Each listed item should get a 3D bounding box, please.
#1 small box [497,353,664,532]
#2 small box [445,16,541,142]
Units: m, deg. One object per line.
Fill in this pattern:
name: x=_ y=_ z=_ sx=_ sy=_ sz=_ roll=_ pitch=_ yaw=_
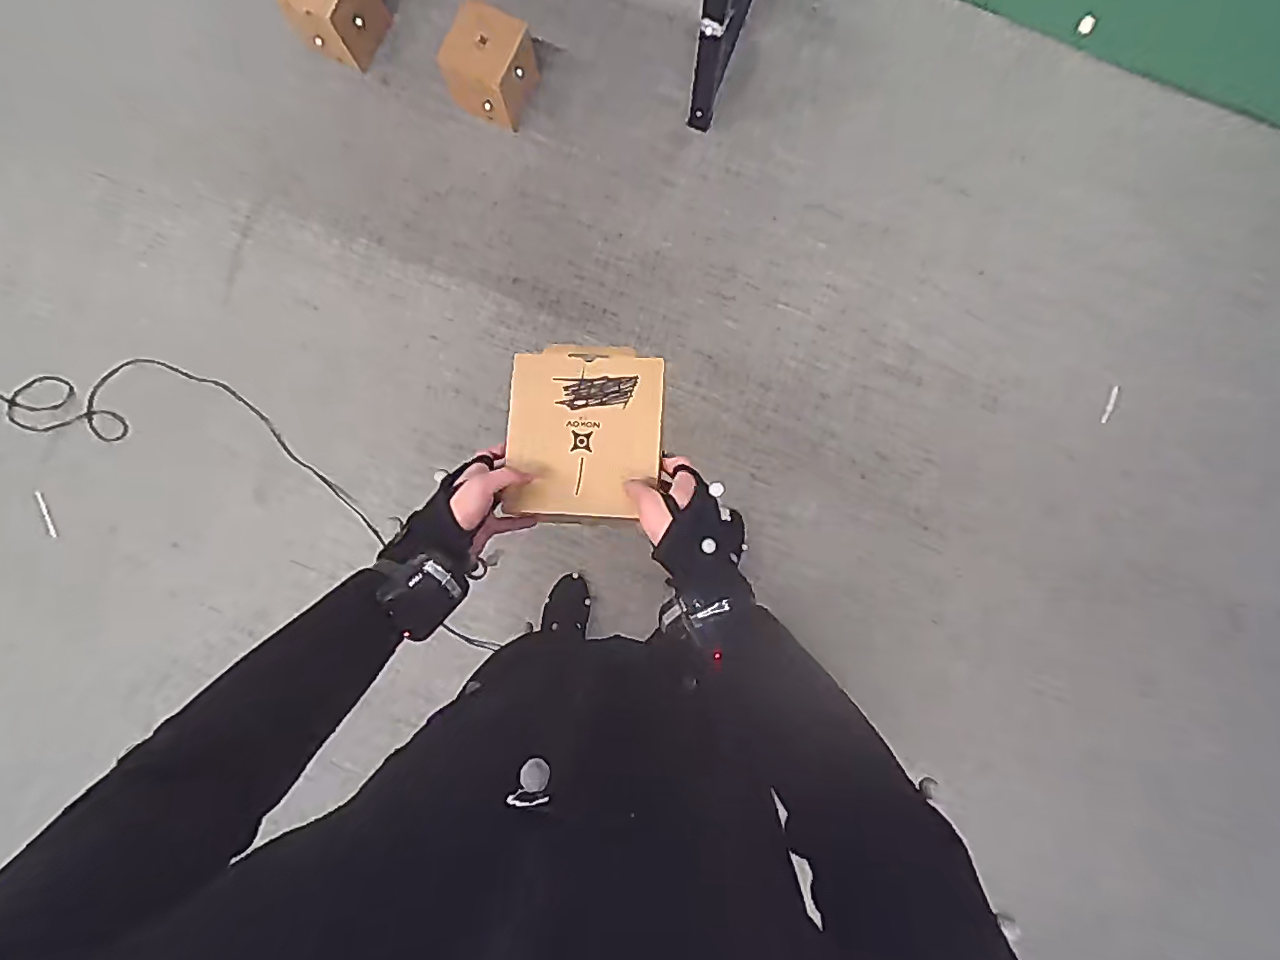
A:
small box: x=-0.058 y=-0.036 z=0.649 sx=0.168 sy=0.176 sz=0.179 roll=3 pitch=81 yaw=5
small box: x=-0.372 y=-1.030 z=1.405 sx=0.168 sy=0.176 sz=0.179 roll=24 pitch=86 yaw=1
